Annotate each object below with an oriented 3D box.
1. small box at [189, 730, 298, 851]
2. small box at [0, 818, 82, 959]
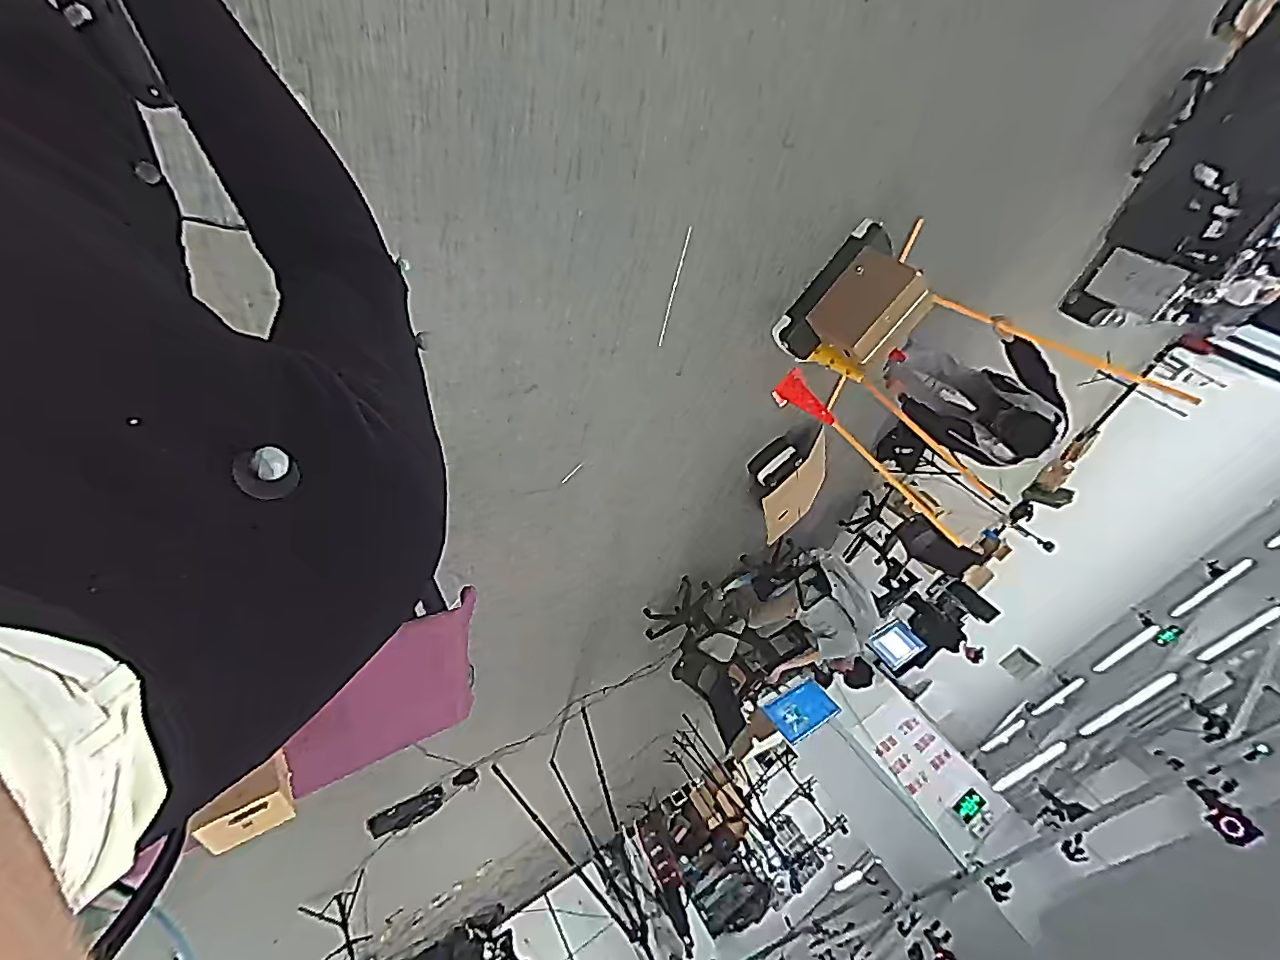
[{"bbox_3d":[-0.939,0.726,1.281,0.168,0.176,0.179,-17,141,-32],"label":"small box"},{"bbox_3d":[-1.253,0.818,1.067,0.179,0.176,0.168,-16,139,-34],"label":"small box"}]
